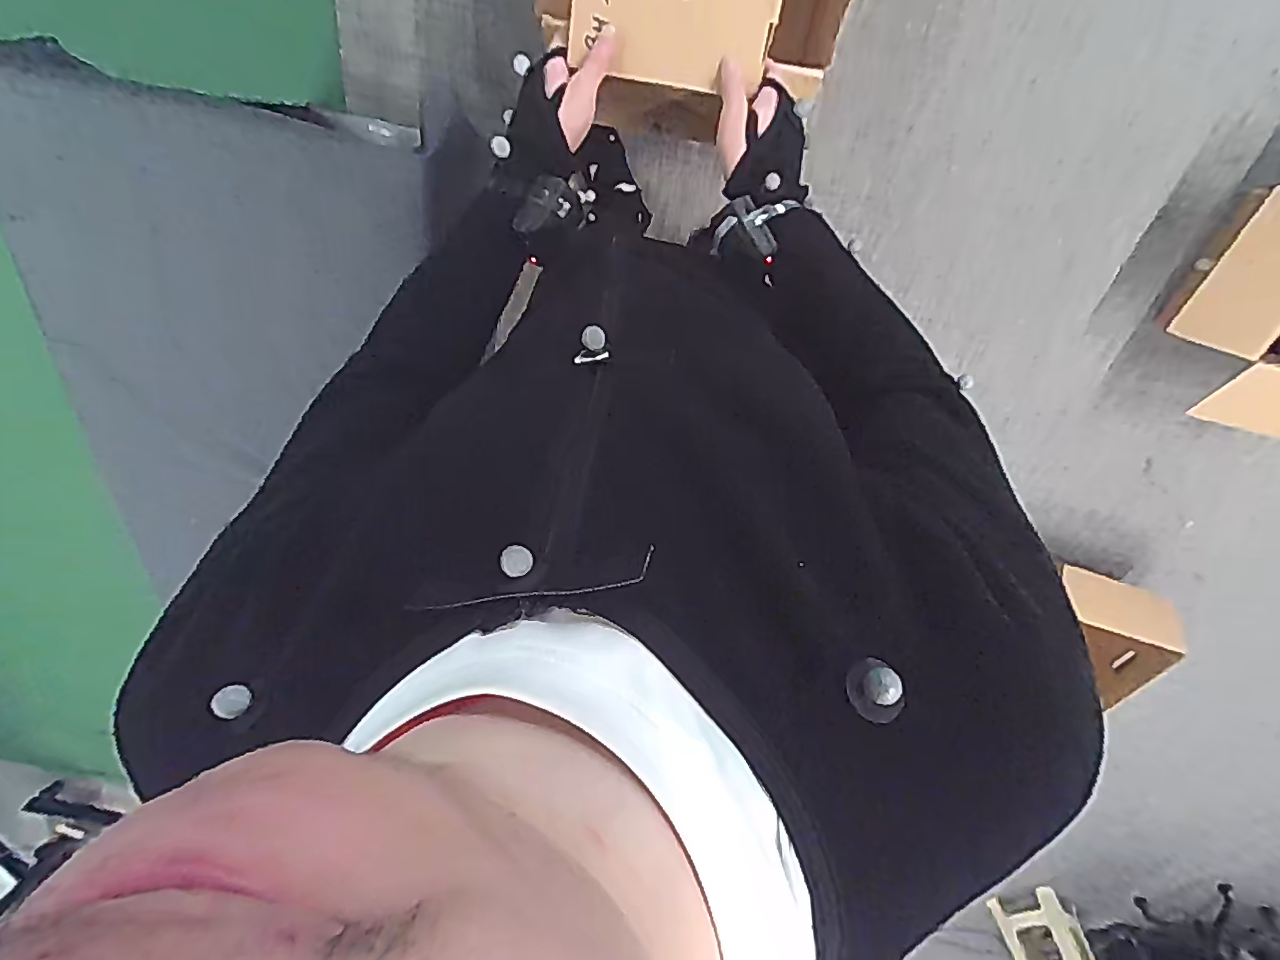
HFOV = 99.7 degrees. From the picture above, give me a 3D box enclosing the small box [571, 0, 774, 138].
[{"bbox_3d":[0.031,-0.463,0.545,0.179,0.176,0.168,6,111,-3],"label":"small box"}]
